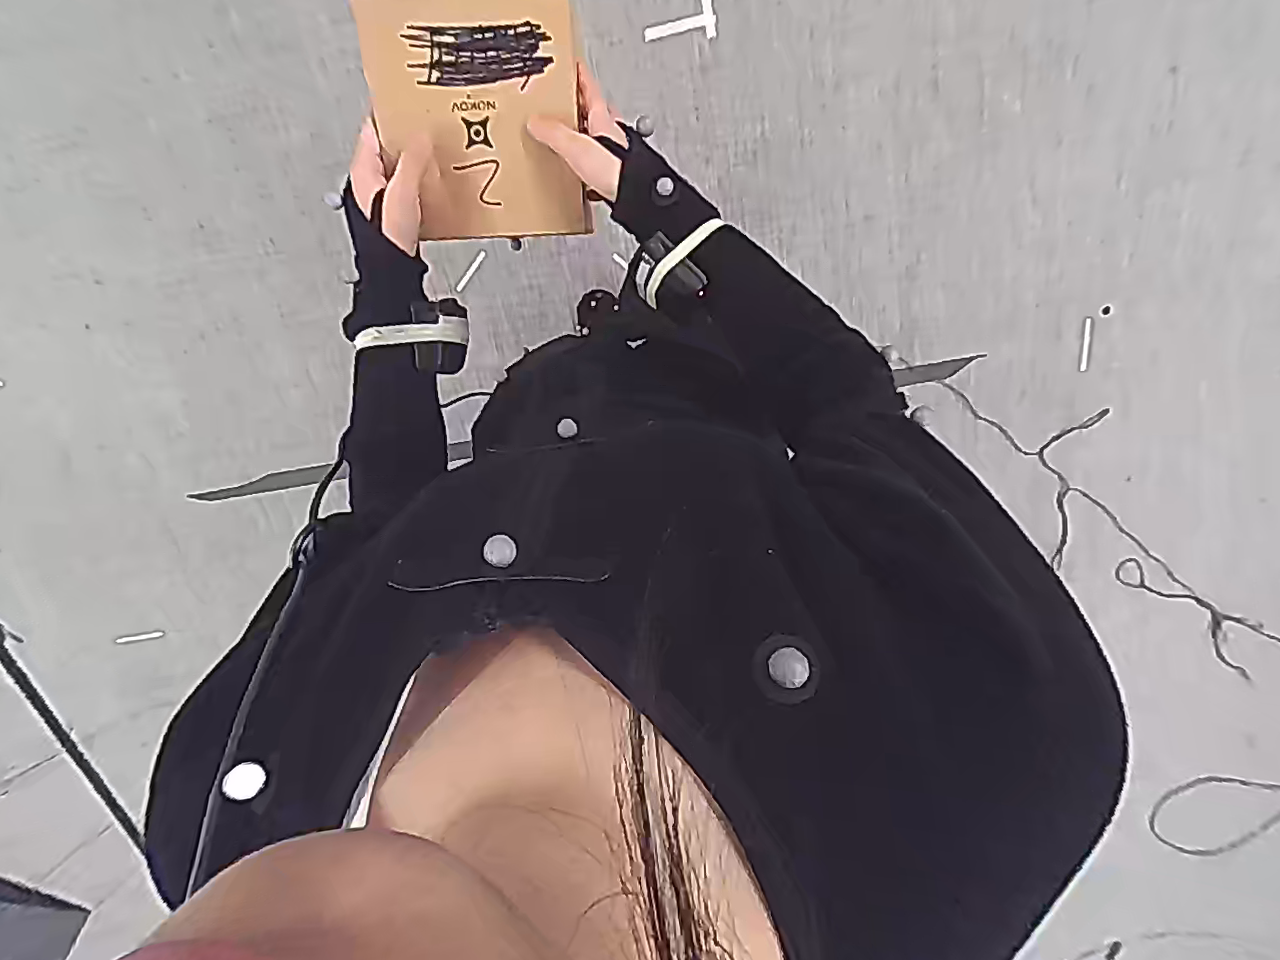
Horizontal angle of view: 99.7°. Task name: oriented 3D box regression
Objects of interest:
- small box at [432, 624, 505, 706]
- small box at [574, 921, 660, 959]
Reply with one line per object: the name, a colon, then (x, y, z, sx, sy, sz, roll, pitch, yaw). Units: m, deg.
small box: (-0.518, 0.557, 1.645, 0.179, 0.176, 0.168, 6, 109, -4)
small box: (-0.046, 0.994, 1.036, 0.168, 0.176, 0.179, 1, 109, -2)
